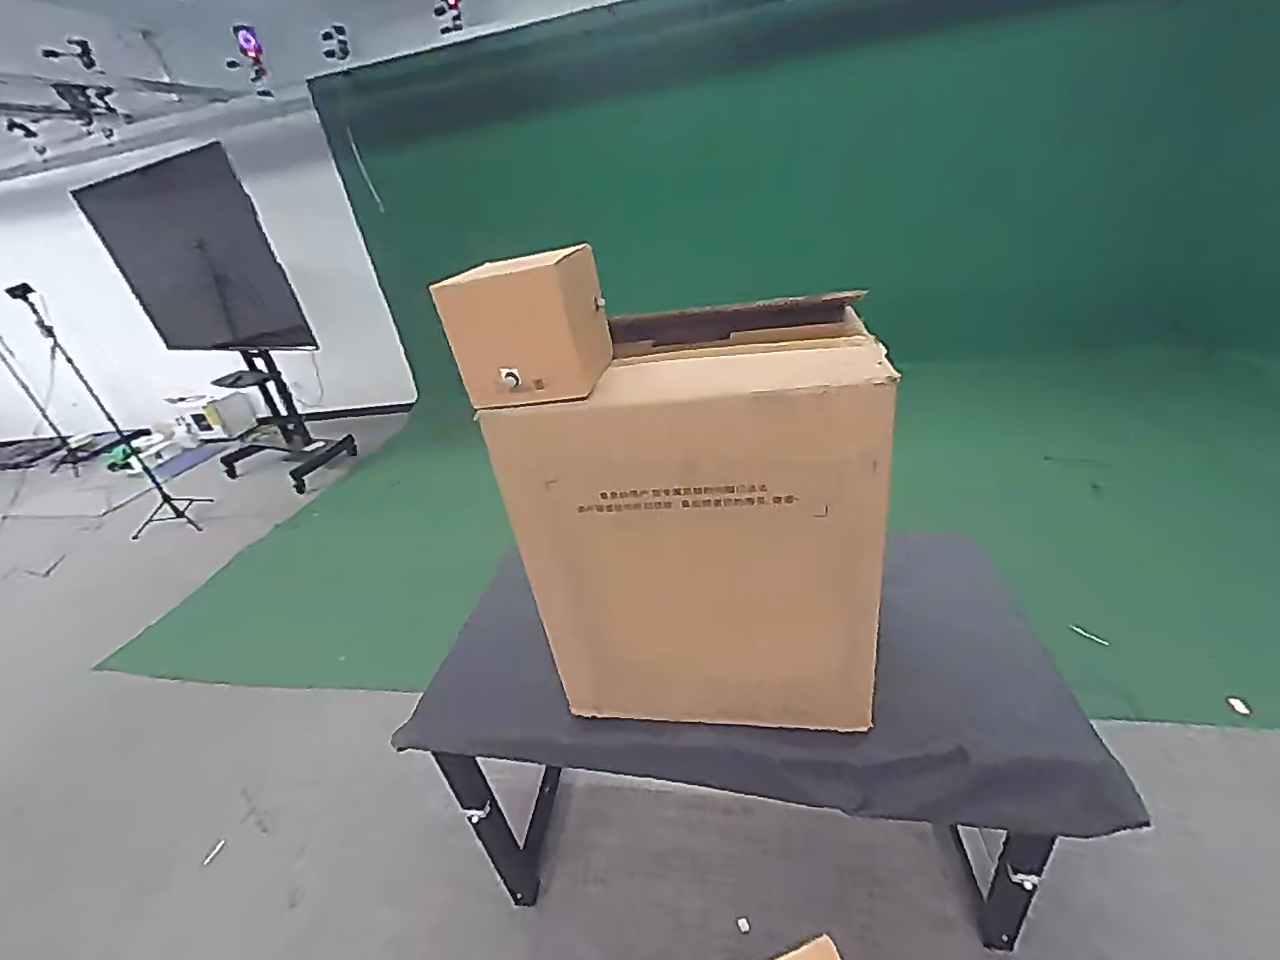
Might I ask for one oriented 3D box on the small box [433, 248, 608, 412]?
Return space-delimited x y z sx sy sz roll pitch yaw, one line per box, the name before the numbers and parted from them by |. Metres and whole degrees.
small box | -0.150 -0.209 0.751 0.168 0.176 0.179 -6 30 12
